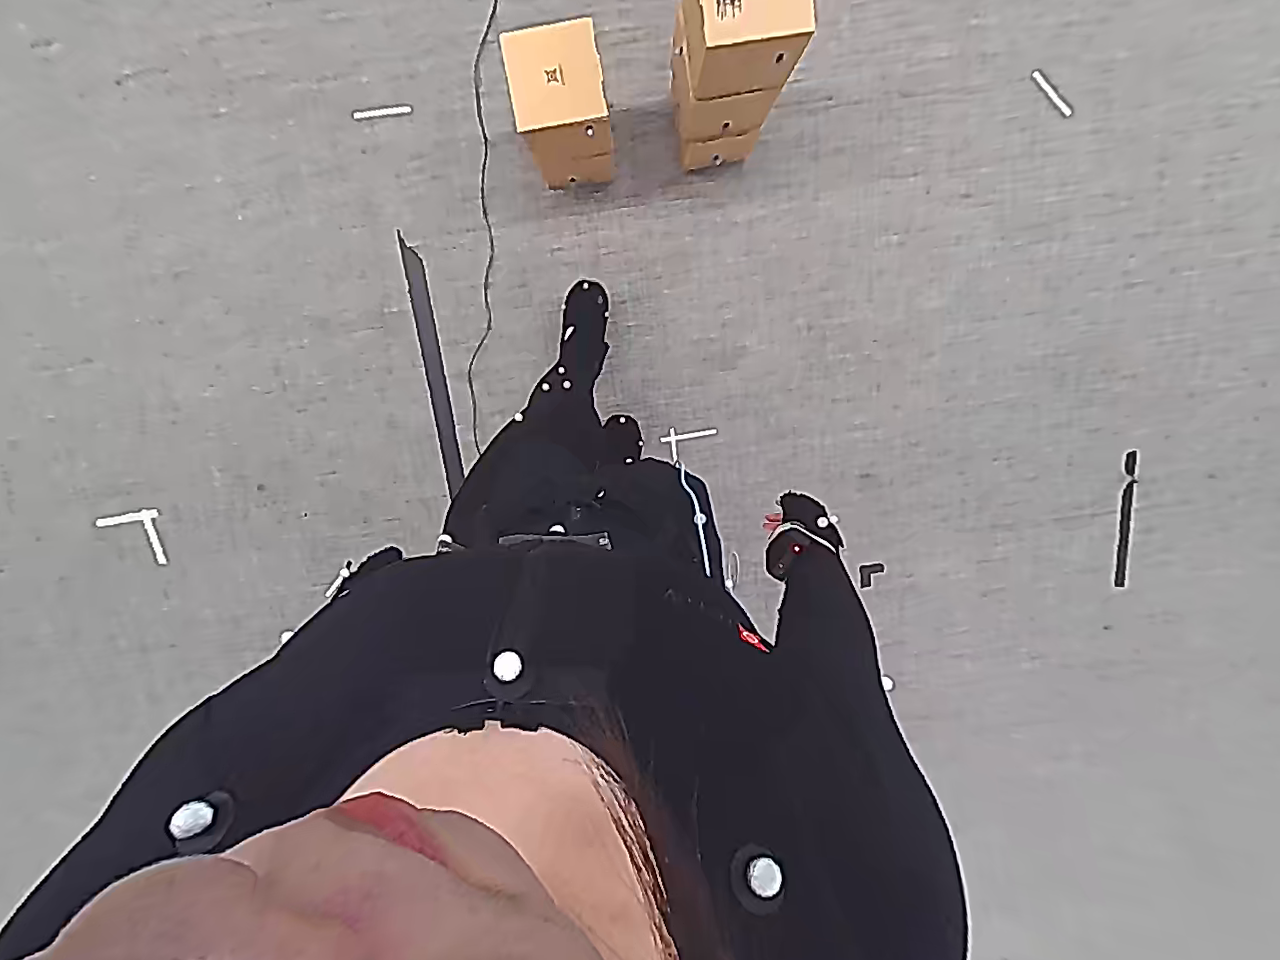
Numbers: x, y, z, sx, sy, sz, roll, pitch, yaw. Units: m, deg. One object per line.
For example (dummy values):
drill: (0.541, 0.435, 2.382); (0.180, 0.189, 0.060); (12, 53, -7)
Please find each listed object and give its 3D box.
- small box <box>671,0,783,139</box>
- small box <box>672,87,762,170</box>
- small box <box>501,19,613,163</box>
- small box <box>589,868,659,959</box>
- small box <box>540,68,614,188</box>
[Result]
small box: (0.165, -0.802, 1.062); (0.179, 0.176, 0.168); (-10, 102, 0)
small box: (0.168, -0.836, 1.223); (0.168, 0.176, 0.179); (-9, 102, 1)
small box: (-0.155, -0.755, 1.070); (0.179, 0.176, 0.168); (-10, 102, 1)
small box: (-0.040, 1.201, 1.476); (0.179, 0.176, 0.168); (-3, 103, -1)
small box: (-0.150, -0.791, 1.229); (0.168, 0.176, 0.179); (-6, 103, 1)
